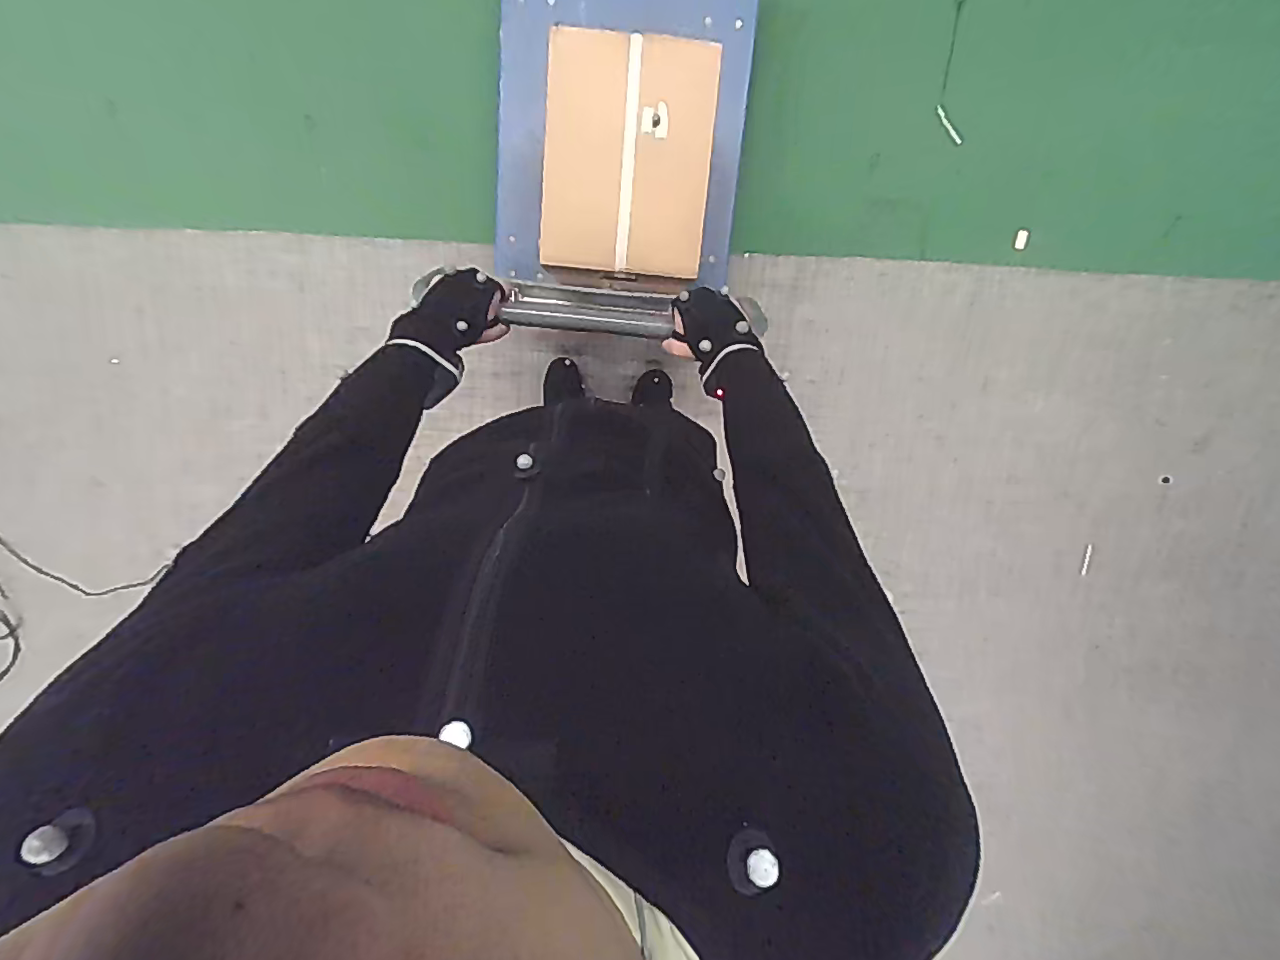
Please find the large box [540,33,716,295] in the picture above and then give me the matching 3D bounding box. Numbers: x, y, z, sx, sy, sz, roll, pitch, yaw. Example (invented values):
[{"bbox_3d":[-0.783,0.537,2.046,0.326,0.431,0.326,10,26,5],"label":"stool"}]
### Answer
[{"bbox_3d":[-0.030,-0.631,1.162,0.320,0.320,0.408,4,102,-3],"label":"large box"}]
